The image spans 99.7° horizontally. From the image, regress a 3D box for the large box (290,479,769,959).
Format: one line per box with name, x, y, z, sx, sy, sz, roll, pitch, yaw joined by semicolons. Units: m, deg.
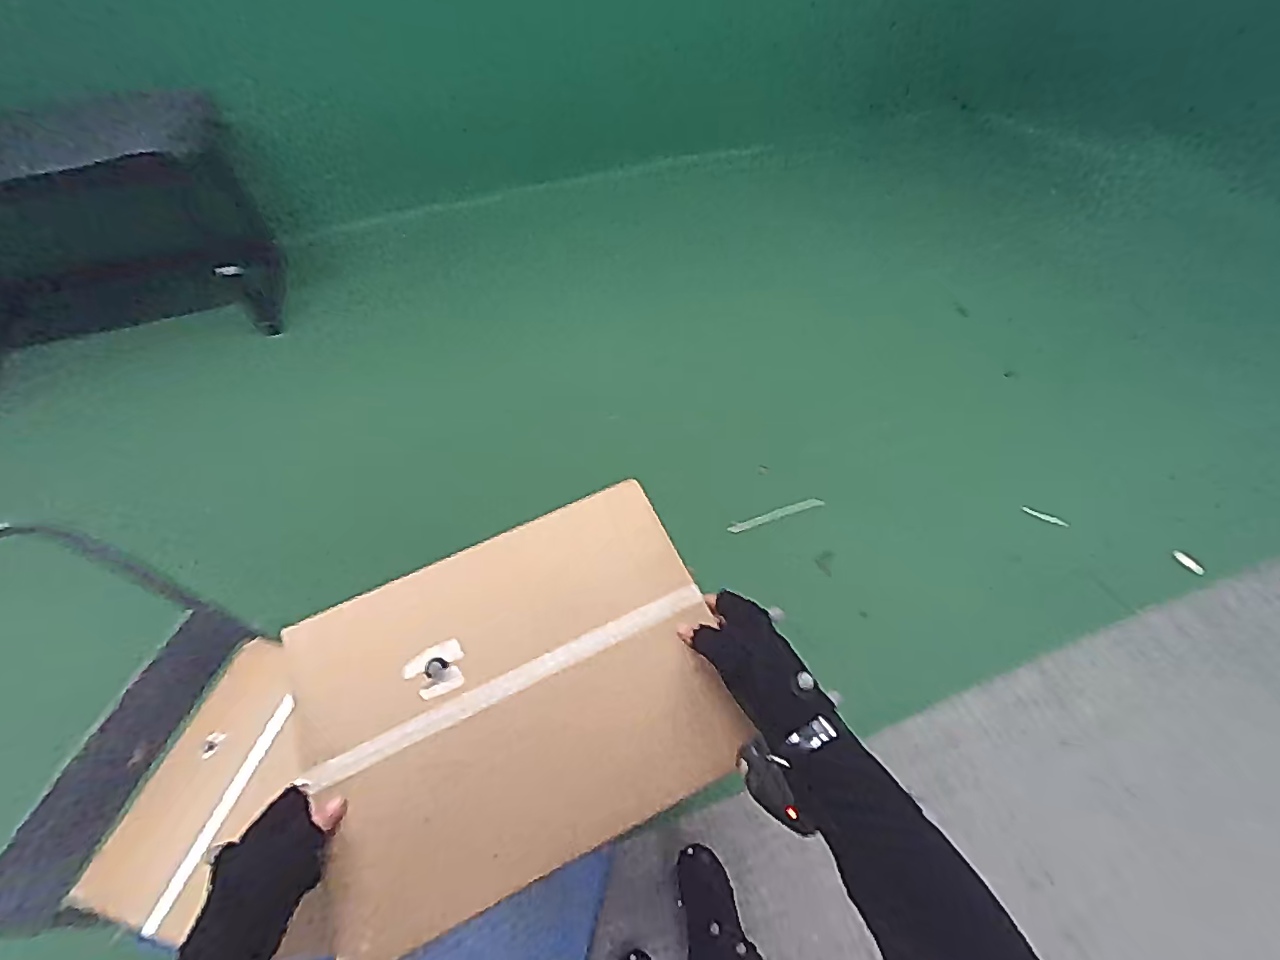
large box;-0.114;0.262;0.659;0.408;0.320;0.320;-23;63;-9
